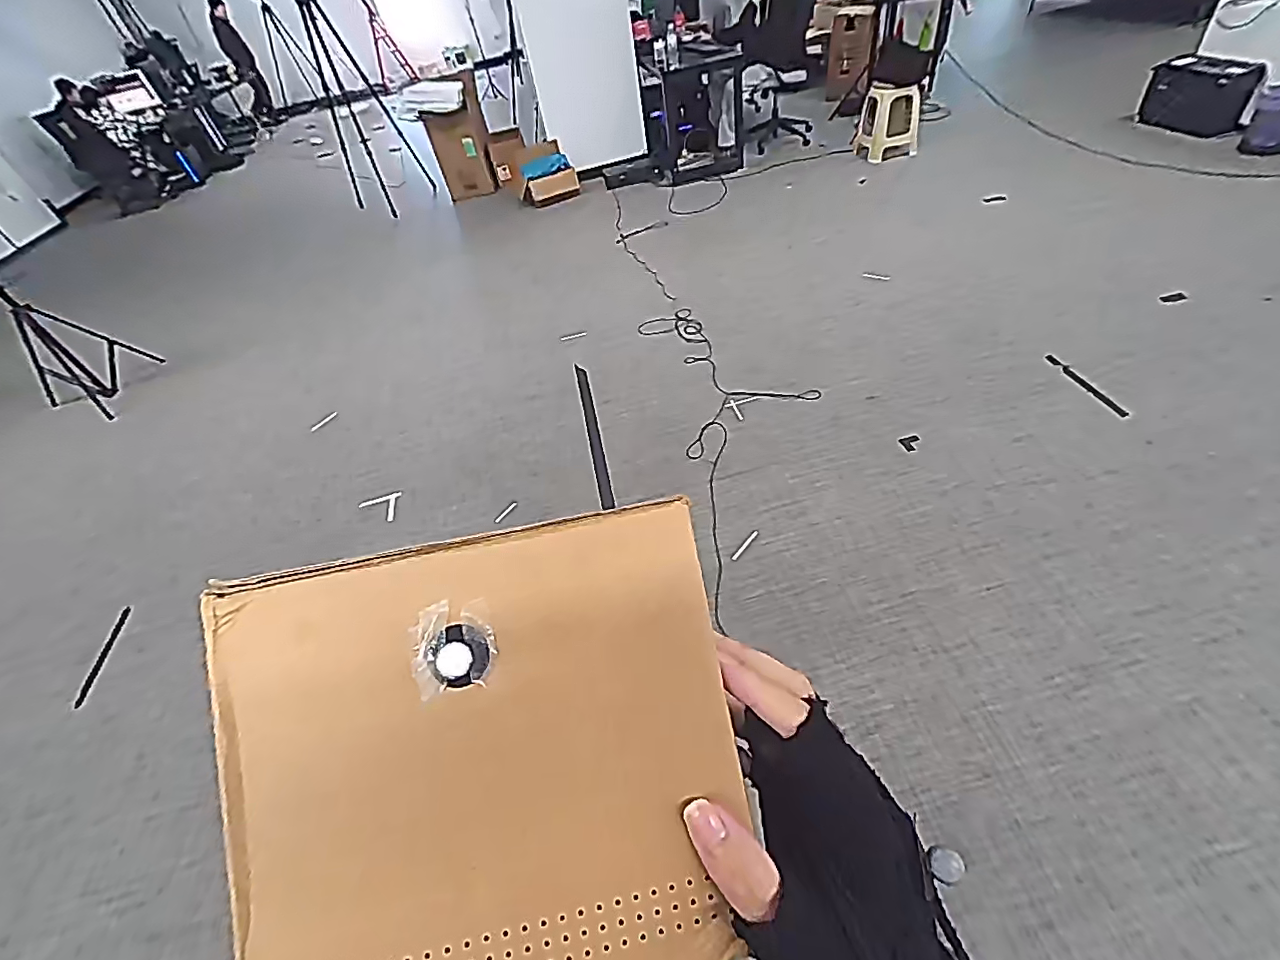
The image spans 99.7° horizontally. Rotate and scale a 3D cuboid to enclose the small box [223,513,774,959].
[{"bbox_3d":[-0.055,0.120,0.267,0.179,0.168,0.176,-10,84,-6],"label":"small box"}]
